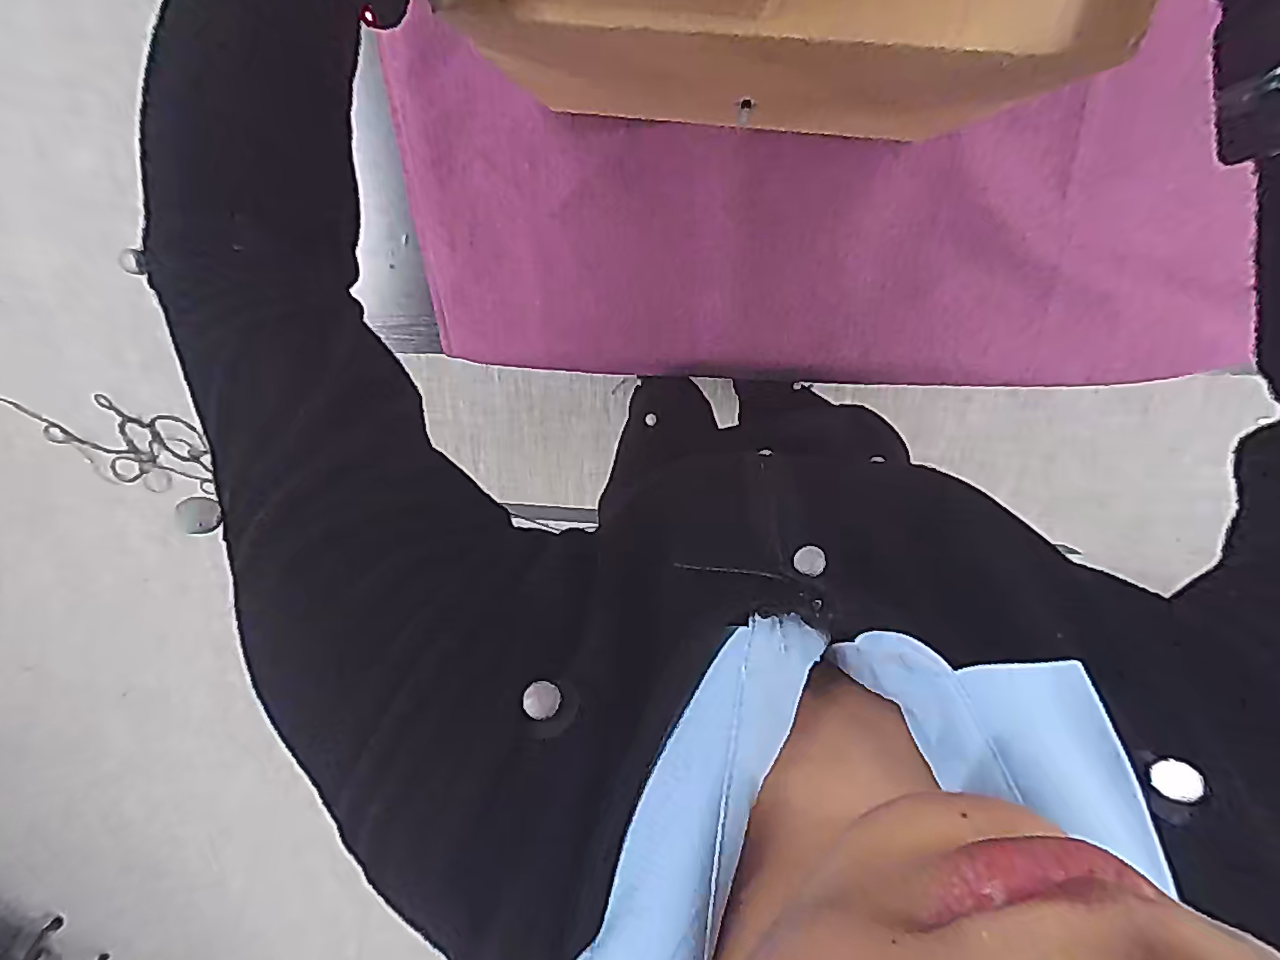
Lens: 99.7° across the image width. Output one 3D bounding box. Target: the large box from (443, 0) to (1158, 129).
[{"bbox_3d":[0.103,-0.455,0.380,0.408,0.320,0.320,6,114,4],"label":"large box"}]
